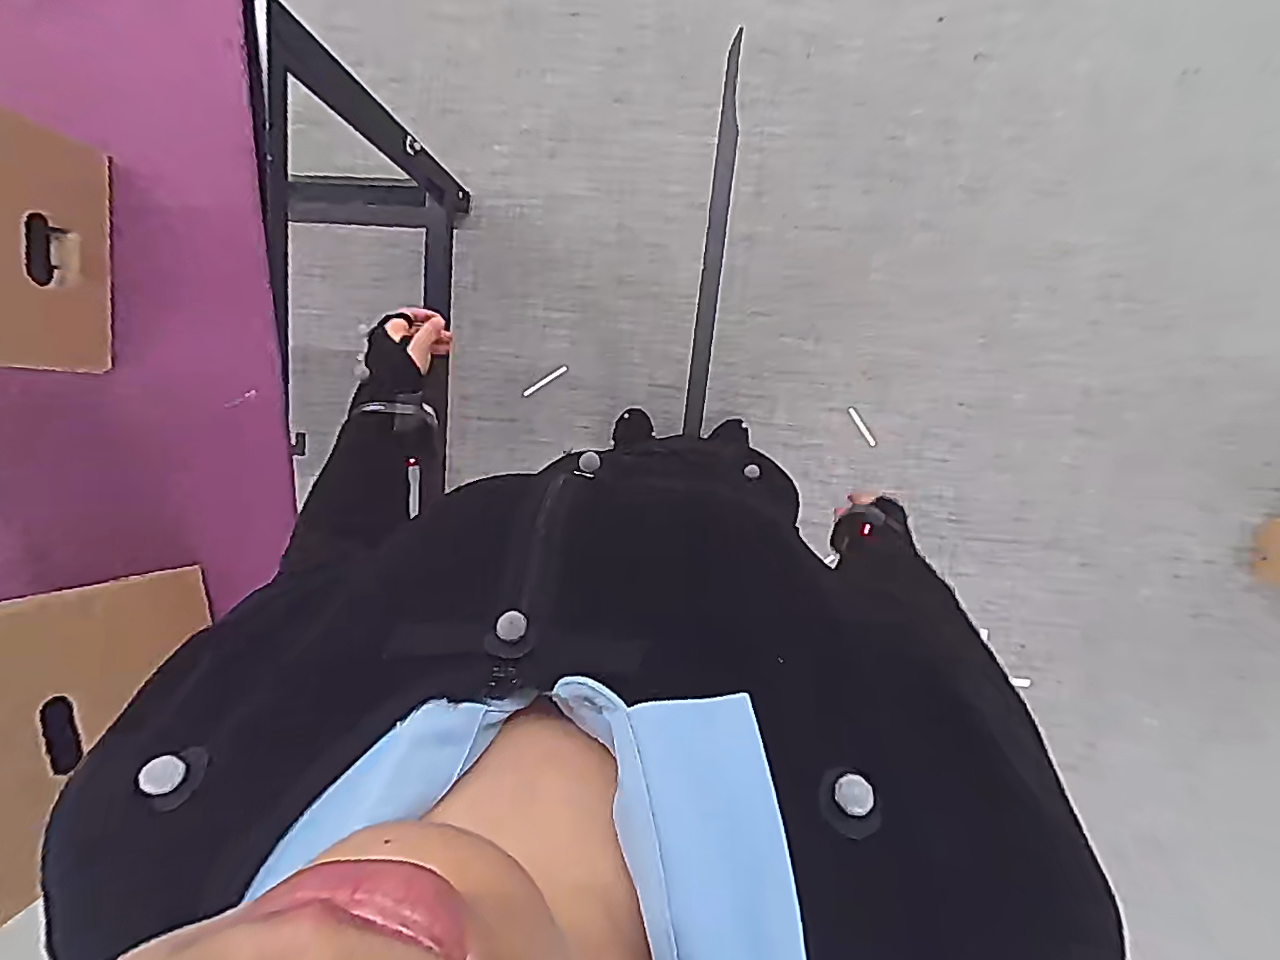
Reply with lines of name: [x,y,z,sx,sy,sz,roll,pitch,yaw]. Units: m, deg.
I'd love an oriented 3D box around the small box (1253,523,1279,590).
small box: [1.667,0.200,1.310,0.179,0.176,0.168,2,97,3]
